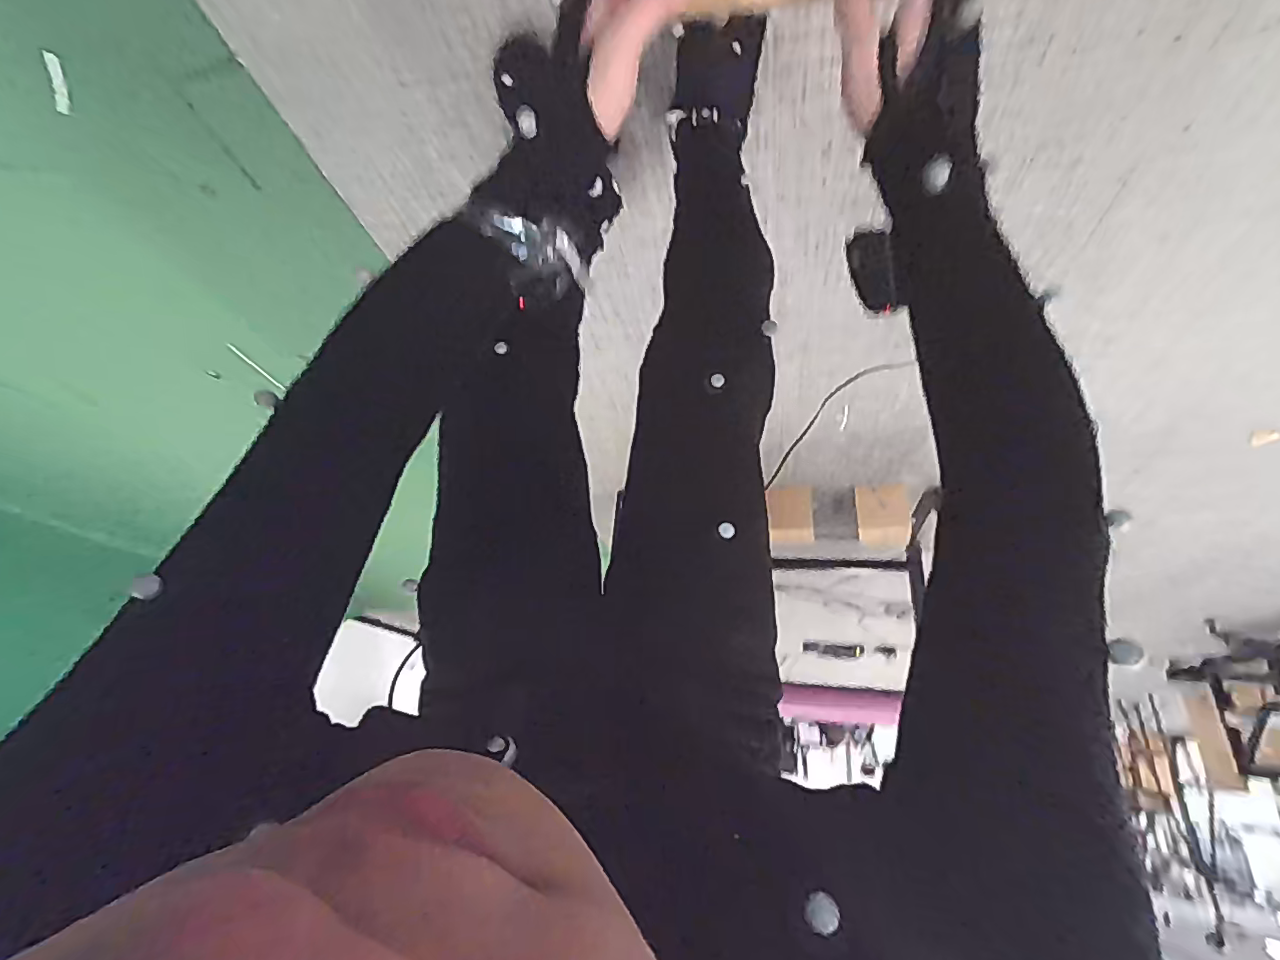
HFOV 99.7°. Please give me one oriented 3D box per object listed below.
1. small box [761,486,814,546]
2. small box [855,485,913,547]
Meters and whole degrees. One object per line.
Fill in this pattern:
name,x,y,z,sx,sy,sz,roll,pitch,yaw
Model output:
small box,0.537,0.130,1.962,0.179,0.176,0.168,-5,153,18
small box,0.845,0.123,1.883,0.168,0.176,0.179,-5,153,20
